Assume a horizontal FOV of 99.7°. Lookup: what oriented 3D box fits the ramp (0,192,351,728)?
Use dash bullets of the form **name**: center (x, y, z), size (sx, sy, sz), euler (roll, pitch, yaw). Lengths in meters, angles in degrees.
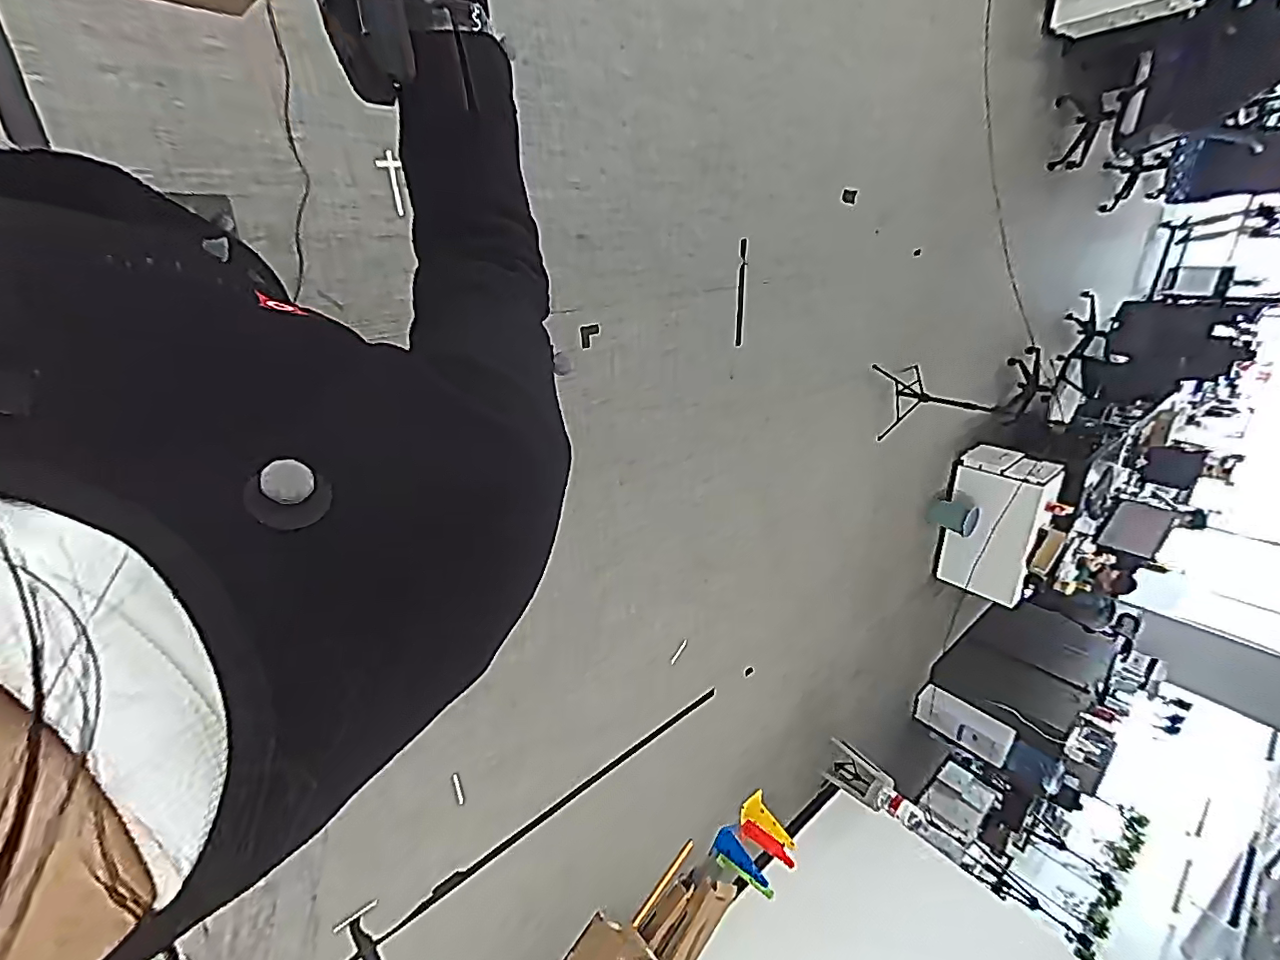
- **ramp**: center (-0.980, -0.040, 1.098), size (0.509, 0.206, 0.991), euler (-19, 118, -33)
